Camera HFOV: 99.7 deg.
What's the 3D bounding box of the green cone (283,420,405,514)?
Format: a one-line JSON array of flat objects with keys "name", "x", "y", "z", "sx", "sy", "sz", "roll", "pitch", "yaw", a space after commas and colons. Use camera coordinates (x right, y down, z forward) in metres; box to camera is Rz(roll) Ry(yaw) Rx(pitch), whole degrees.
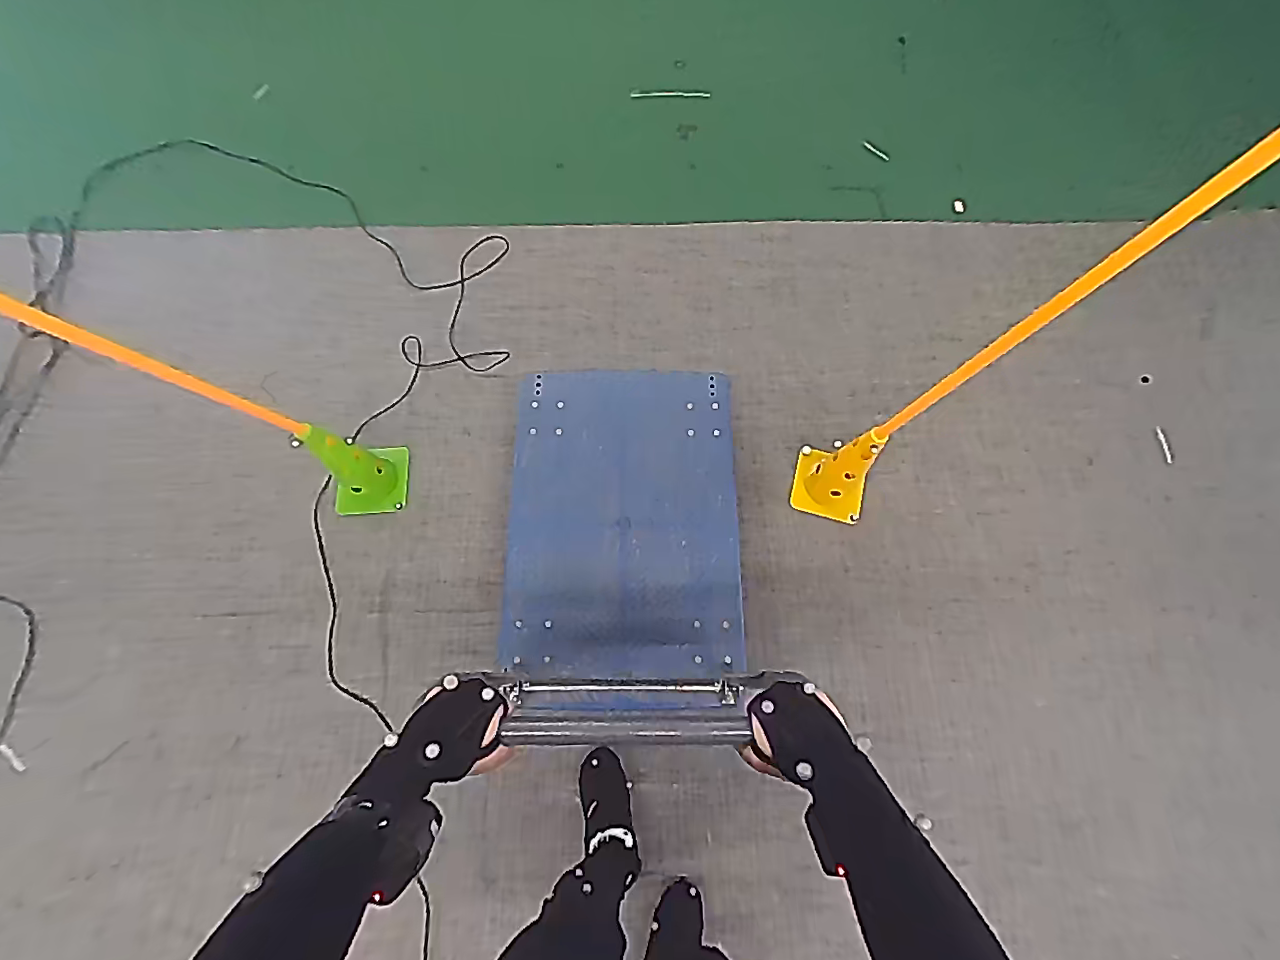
[{"name": "green cone", "x": -0.785, "y": -0.063, "z": 1.399, "sx": 0.202, "sy": 0.368, "sz": 0.200, "roll": -5, "pitch": 70, "yaw": 0}]
